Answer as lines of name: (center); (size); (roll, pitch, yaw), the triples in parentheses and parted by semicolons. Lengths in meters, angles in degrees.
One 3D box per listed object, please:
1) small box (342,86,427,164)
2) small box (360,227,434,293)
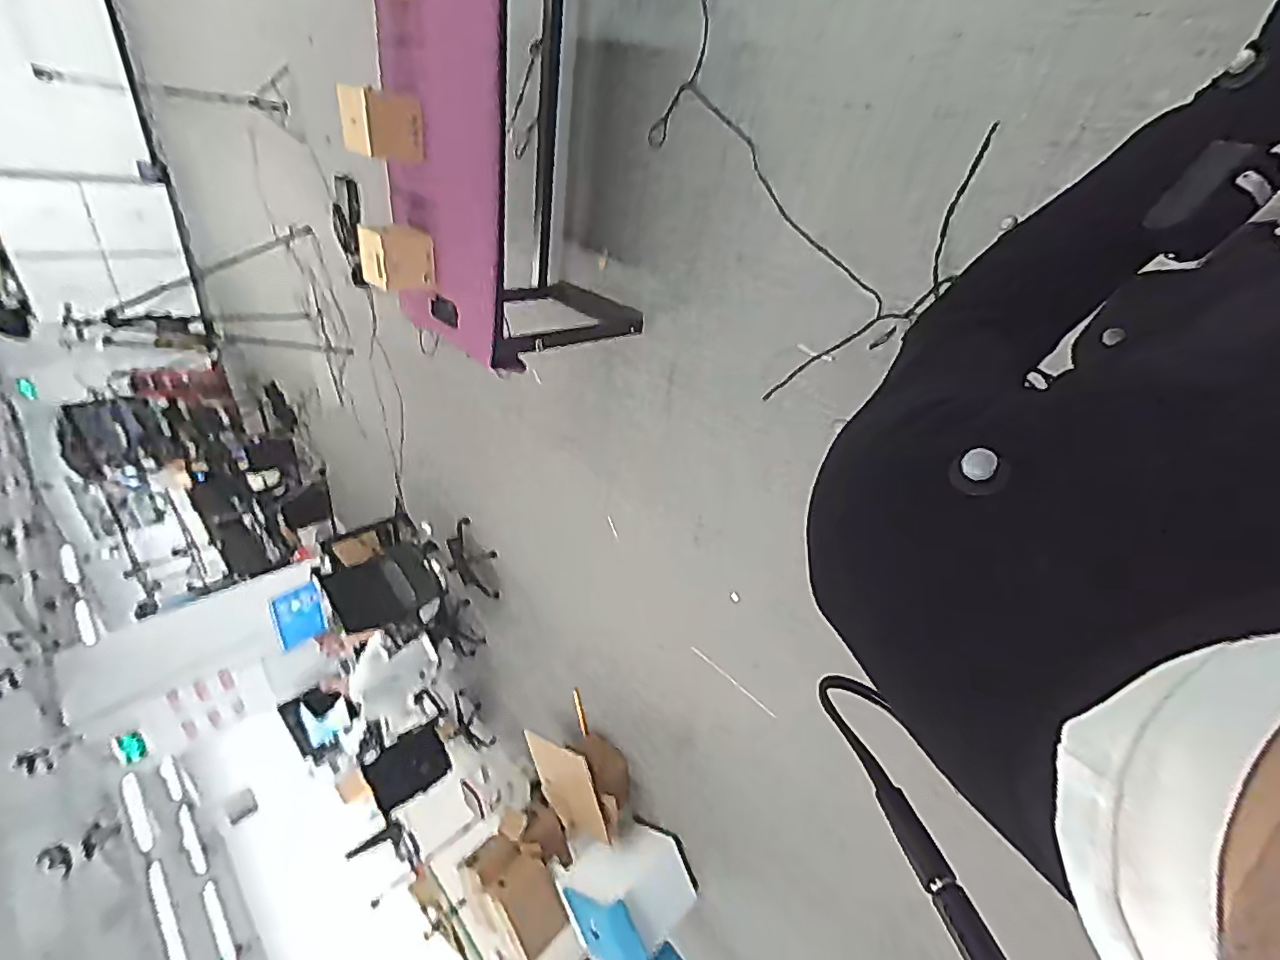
small box: (-0.750, -1.044, 1.597); (0.179, 0.176, 0.168); (33, 129, 32)
small box: (-0.789, -0.726, 1.774); (0.179, 0.176, 0.168); (34, 129, 33)
